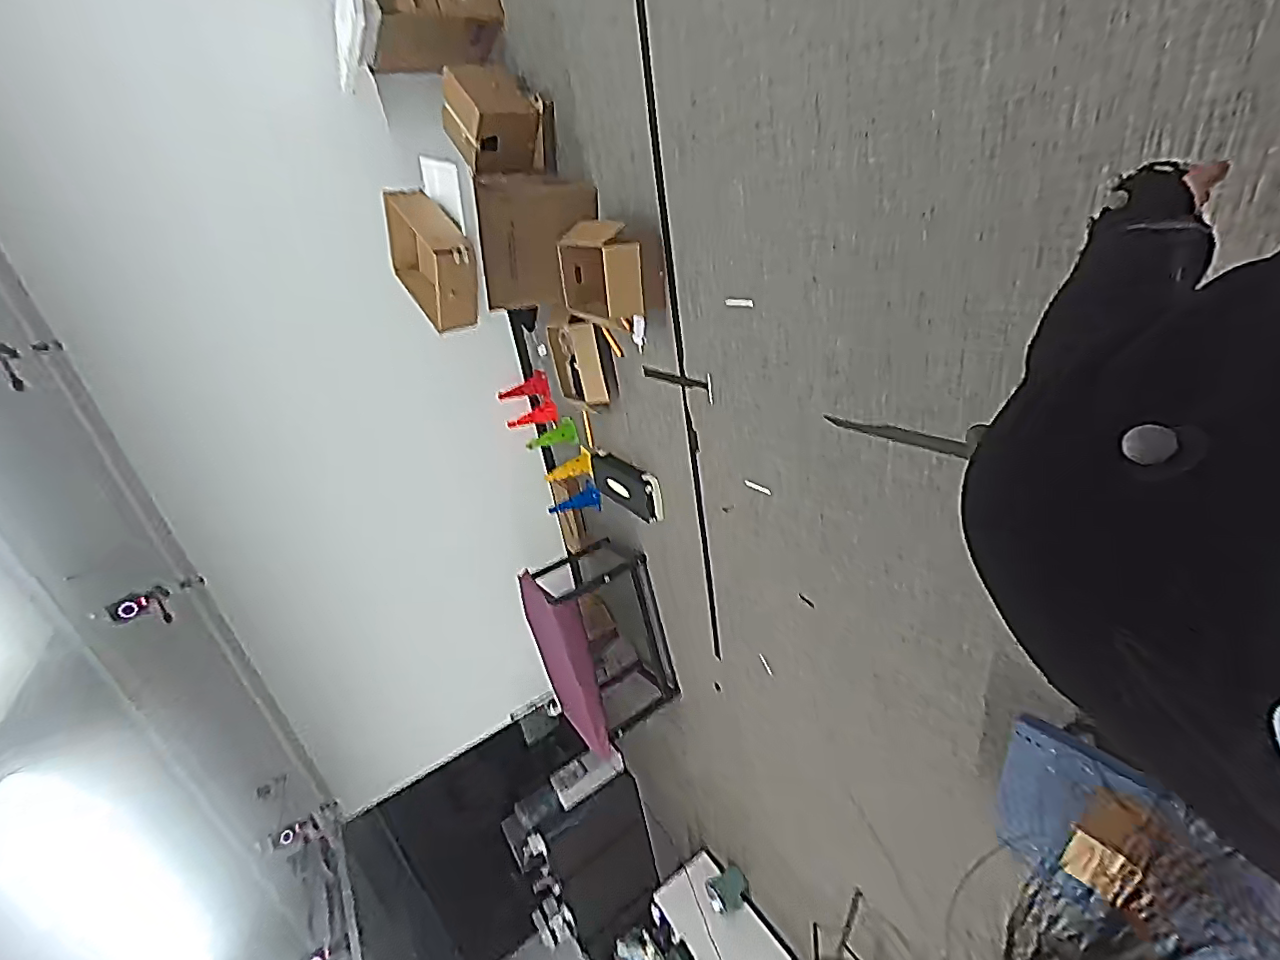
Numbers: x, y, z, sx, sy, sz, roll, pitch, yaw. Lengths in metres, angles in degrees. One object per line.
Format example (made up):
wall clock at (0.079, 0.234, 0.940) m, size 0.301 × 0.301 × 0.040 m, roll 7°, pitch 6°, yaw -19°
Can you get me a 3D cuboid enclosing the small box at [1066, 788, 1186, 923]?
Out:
small box at (1.195, 0.916, 1.333) m, size 0.168 × 0.176 × 0.179 m, roll 25°, pitch 132°, yaw 52°
